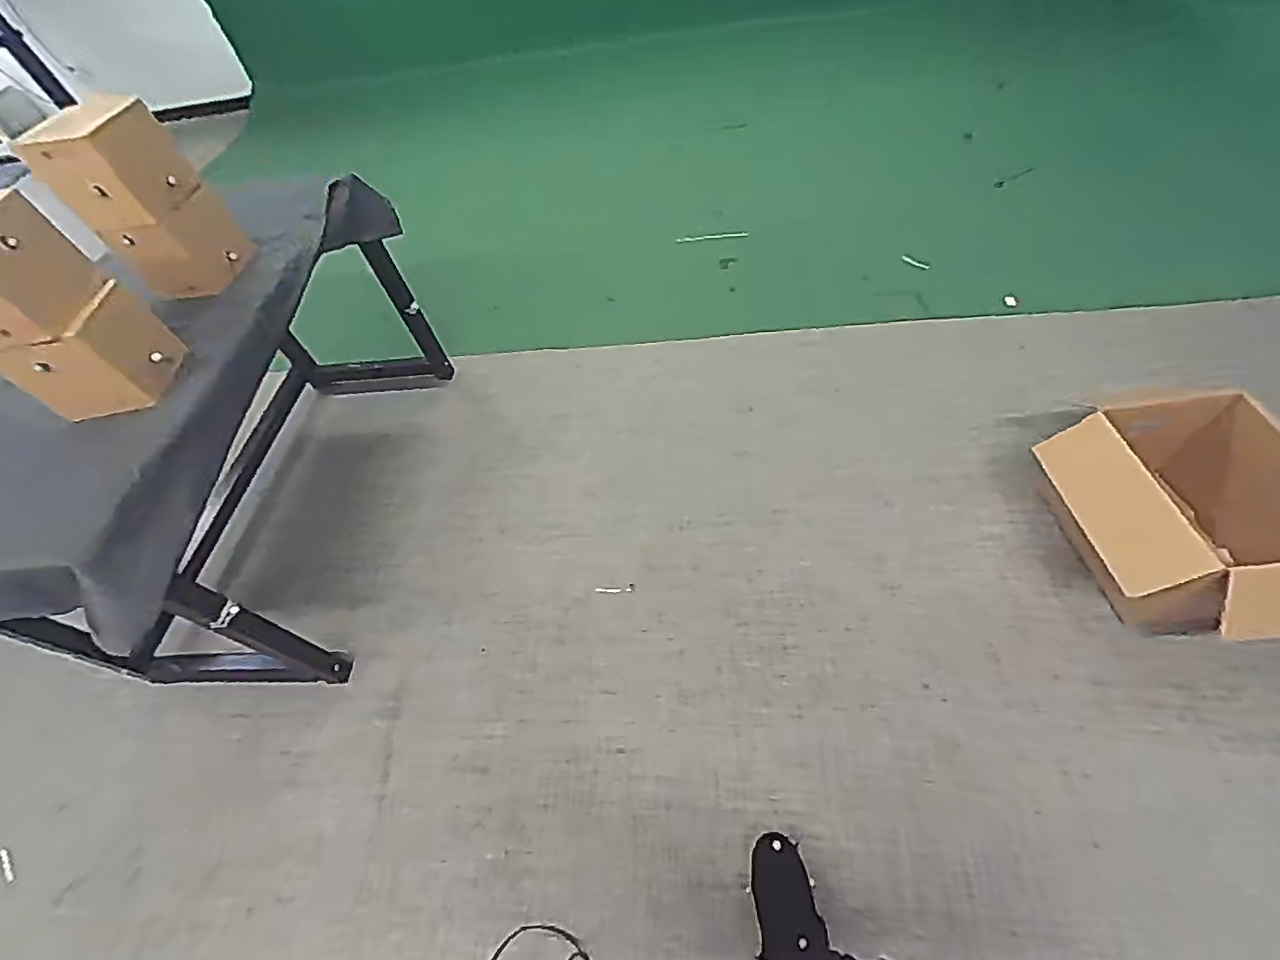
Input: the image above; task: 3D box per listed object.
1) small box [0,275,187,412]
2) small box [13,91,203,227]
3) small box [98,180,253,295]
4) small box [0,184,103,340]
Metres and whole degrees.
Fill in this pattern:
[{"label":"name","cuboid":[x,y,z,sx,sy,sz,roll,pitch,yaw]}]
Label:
[{"label":"small box","cuboid":[-1.006,-0.244,0.995,0.179,0.176,0.168,-10,54,1]},{"label":"small box","cuboid":[-1.044,-0.634,1.071,0.168,0.176,0.179,-1,55,9]},{"label":"small box","cuboid":[-1.019,-0.539,1.208,0.168,0.176,0.179,-2,54,8]},{"label":"small box","cuboid":[-1.043,-0.340,0.868,0.168,0.176,0.179,-6,53,3]}]
